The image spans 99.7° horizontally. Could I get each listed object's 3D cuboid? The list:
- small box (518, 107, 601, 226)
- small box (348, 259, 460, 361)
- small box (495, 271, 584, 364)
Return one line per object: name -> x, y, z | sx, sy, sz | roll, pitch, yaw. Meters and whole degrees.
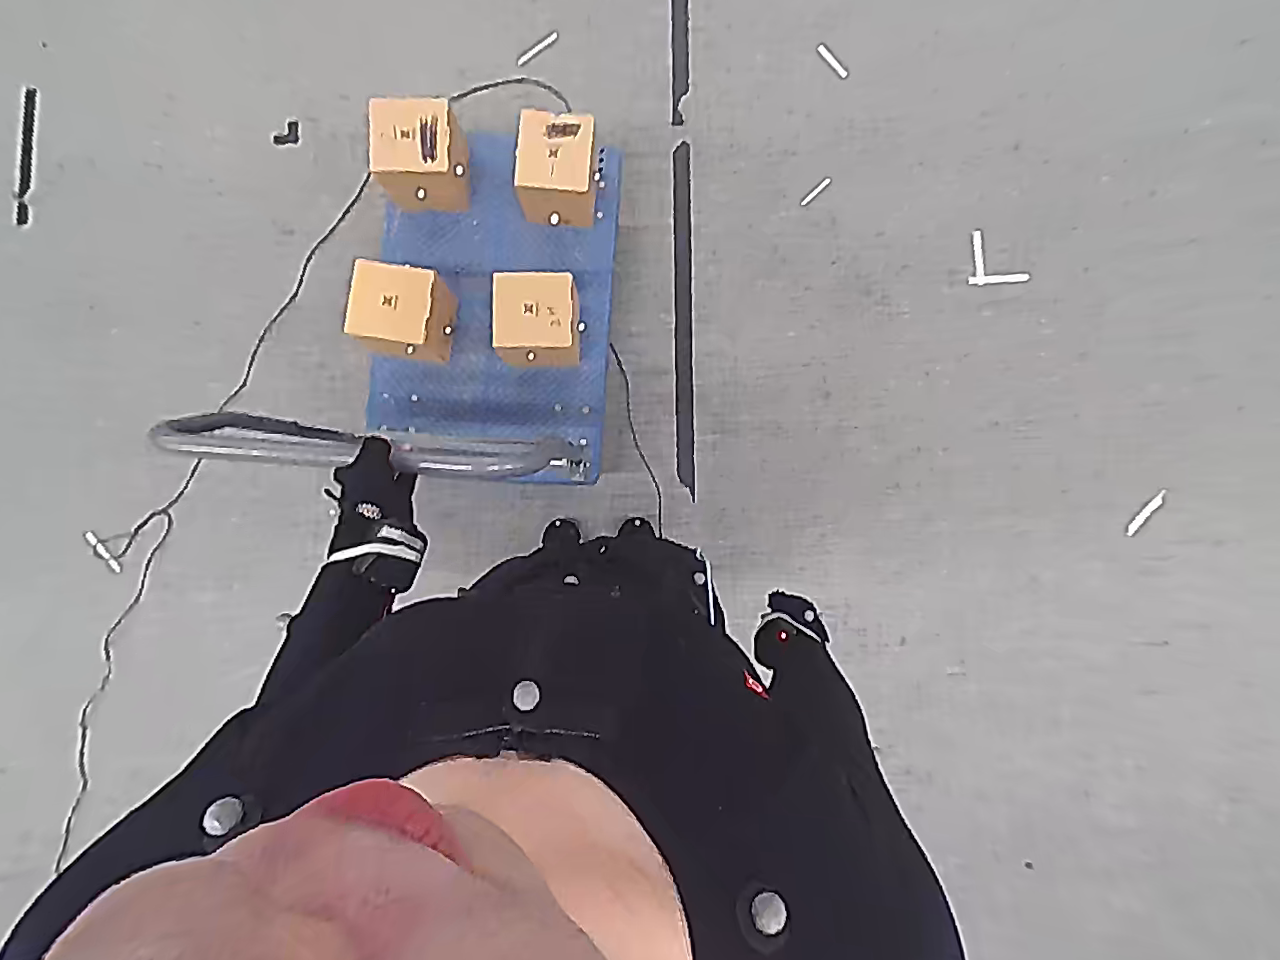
small box -> -0.183, -0.729, 1.271 | 0.168, 0.176, 0.179 | 5, 89, -1
small box -> -0.537, -0.385, 1.252 | 0.179, 0.176, 0.168 | 8, 87, -2
small box -> -0.228, -0.370, 1.256 | 0.179, 0.176, 0.168 | 0, 88, -1
